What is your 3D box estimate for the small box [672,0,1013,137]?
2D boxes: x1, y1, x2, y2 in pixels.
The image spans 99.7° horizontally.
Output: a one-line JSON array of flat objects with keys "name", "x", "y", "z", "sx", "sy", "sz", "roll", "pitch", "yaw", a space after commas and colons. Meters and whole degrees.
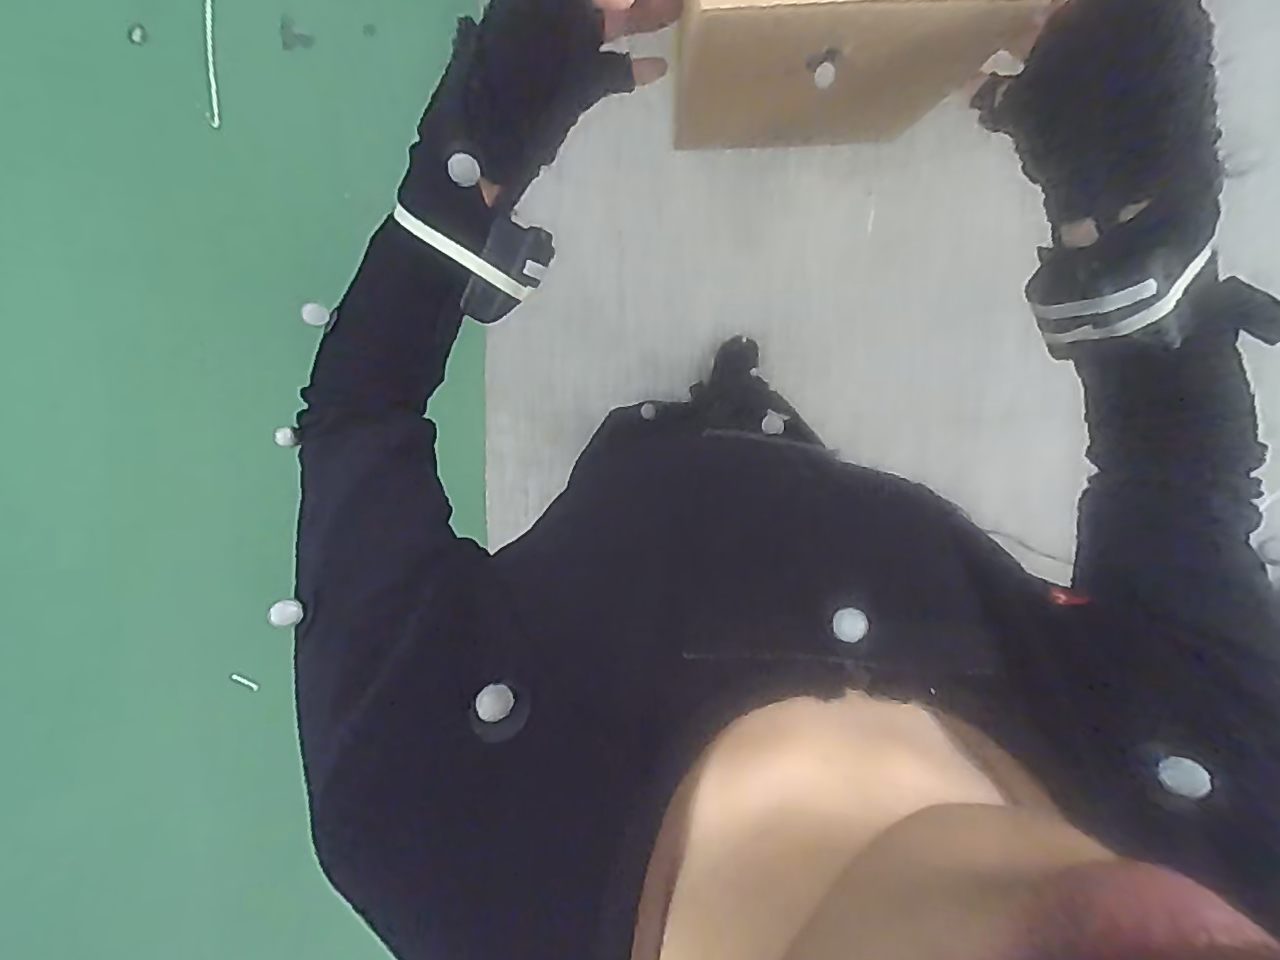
[{"name": "small box", "x": 0.109, "y": -0.333, "z": 0.331, "sx": 0.179, "sy": 0.176, "sz": 0.168, "roll": -2, "pitch": 102, "yaw": 0}]
